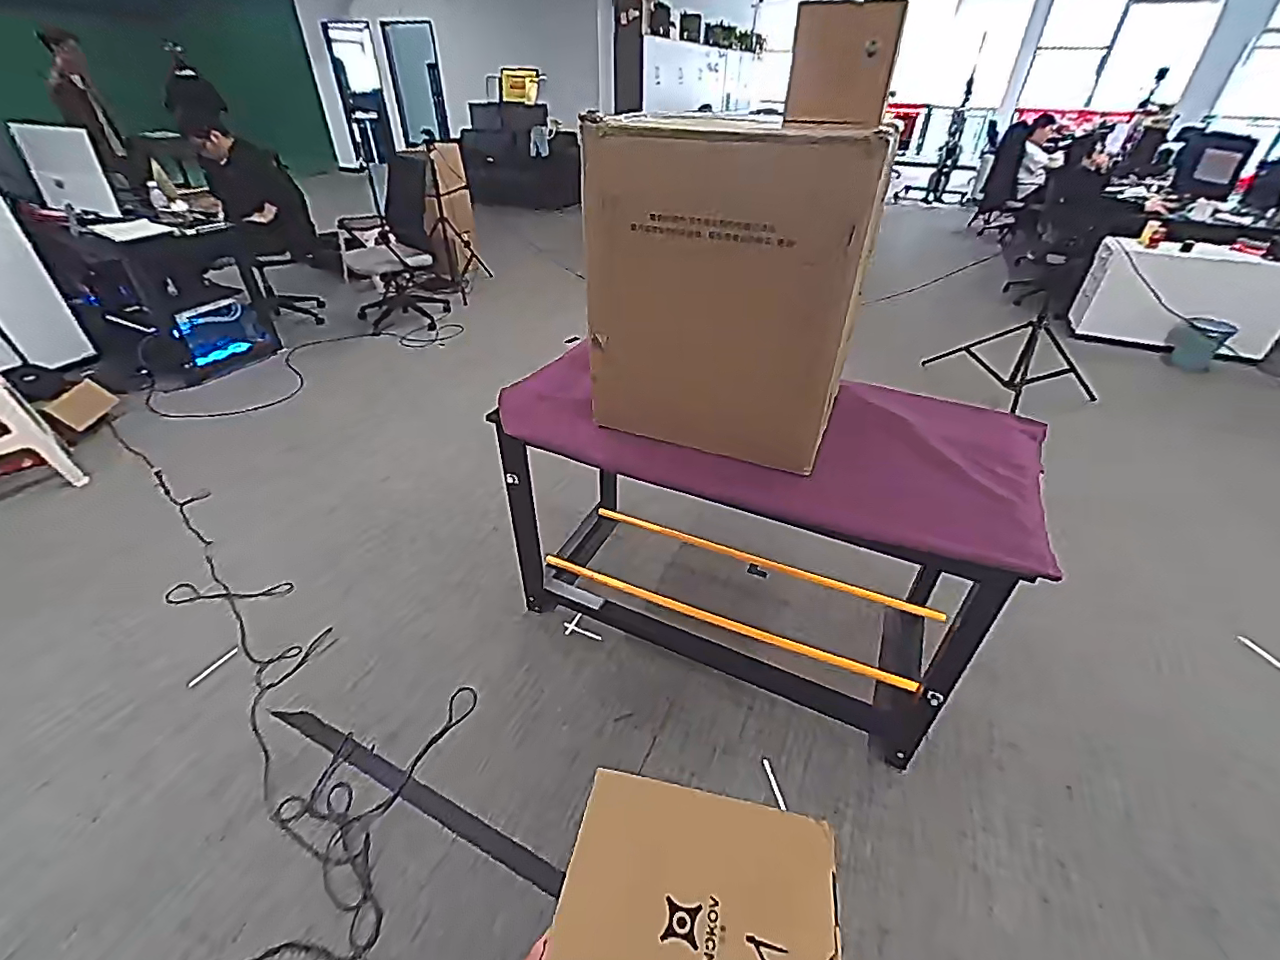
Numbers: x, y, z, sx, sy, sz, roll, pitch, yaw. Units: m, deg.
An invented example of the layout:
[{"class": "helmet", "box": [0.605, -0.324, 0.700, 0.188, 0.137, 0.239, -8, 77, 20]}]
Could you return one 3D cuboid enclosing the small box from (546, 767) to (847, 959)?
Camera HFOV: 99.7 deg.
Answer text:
[{"class": "small box", "box": [0.037, 0.339, 0.377, 0.179, 0.176, 0.168, 8, 36, 10]}]
